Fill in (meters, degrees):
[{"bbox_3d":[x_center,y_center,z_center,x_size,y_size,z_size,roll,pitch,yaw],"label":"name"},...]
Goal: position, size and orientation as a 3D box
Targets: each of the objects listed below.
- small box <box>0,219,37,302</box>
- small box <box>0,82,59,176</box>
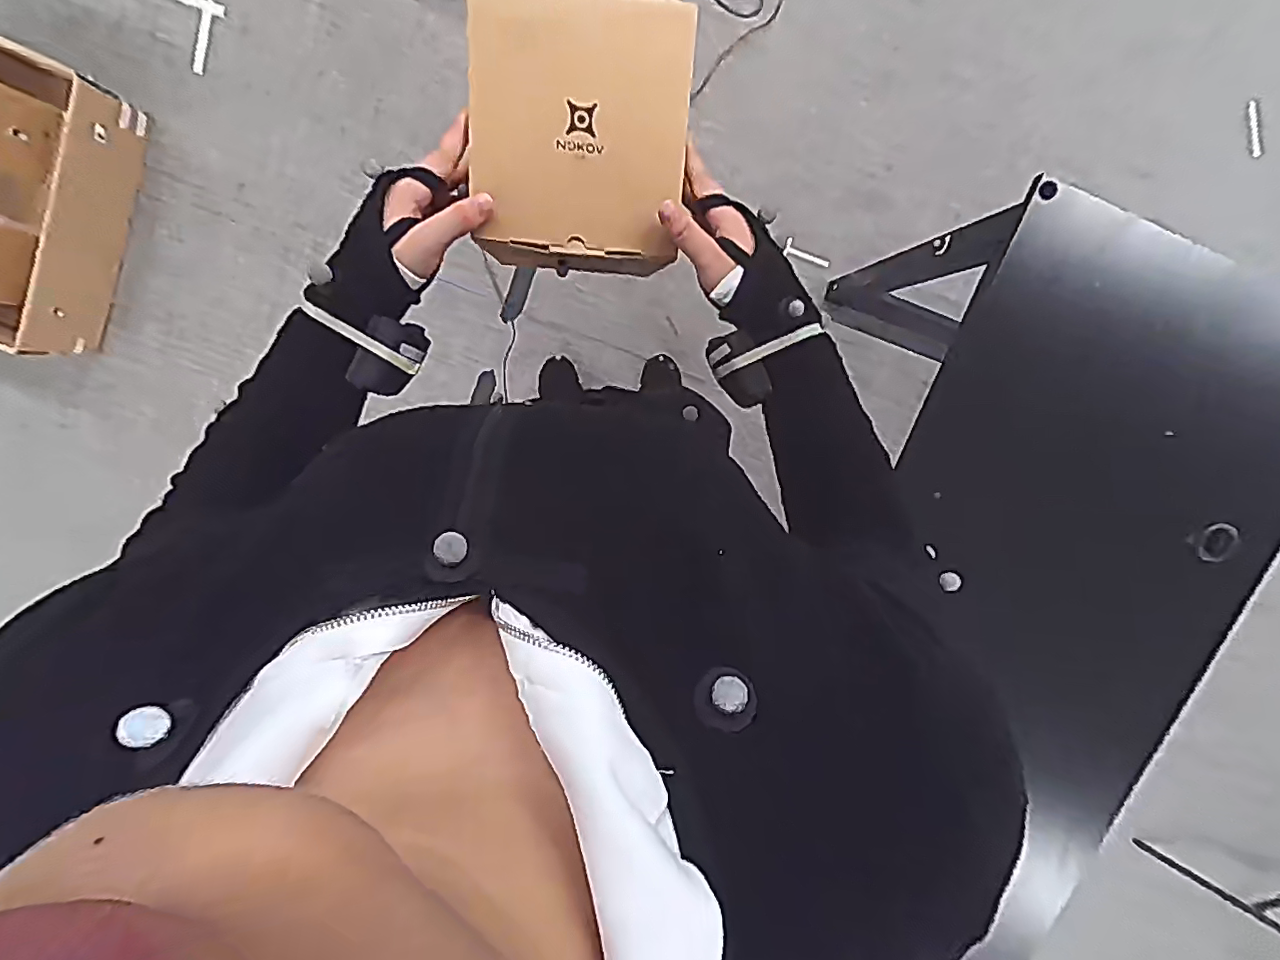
[{"bbox_3d":[-1.522,-0.515,1.204,0.168,0.176,0.179,21,98,-9],"label":"small box"},{"bbox_3d":[-1.423,-0.783,1.155,0.179,0.176,0.168,24,100,-9],"label":"small box"}]
